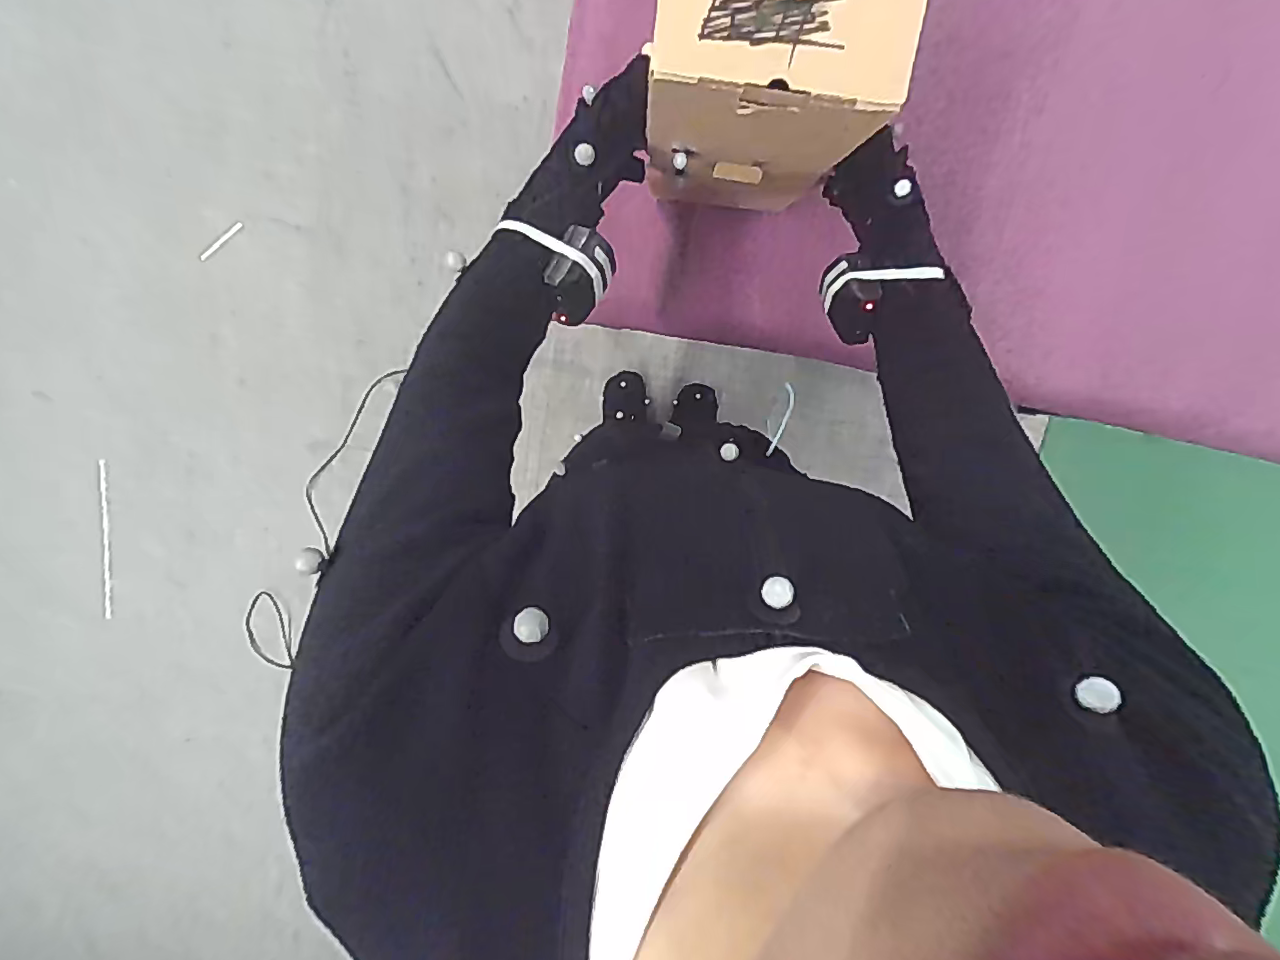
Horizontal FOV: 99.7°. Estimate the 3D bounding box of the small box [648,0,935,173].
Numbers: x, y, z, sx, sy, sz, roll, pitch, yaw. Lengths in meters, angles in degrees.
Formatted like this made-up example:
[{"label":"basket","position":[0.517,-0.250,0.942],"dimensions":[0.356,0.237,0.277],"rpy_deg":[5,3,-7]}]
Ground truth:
[{"label":"small box","position":[0.100,-0.345,0.389],"dimensions":[0.168,0.176,0.179],"rpy_deg":[9,106,-5]}]
